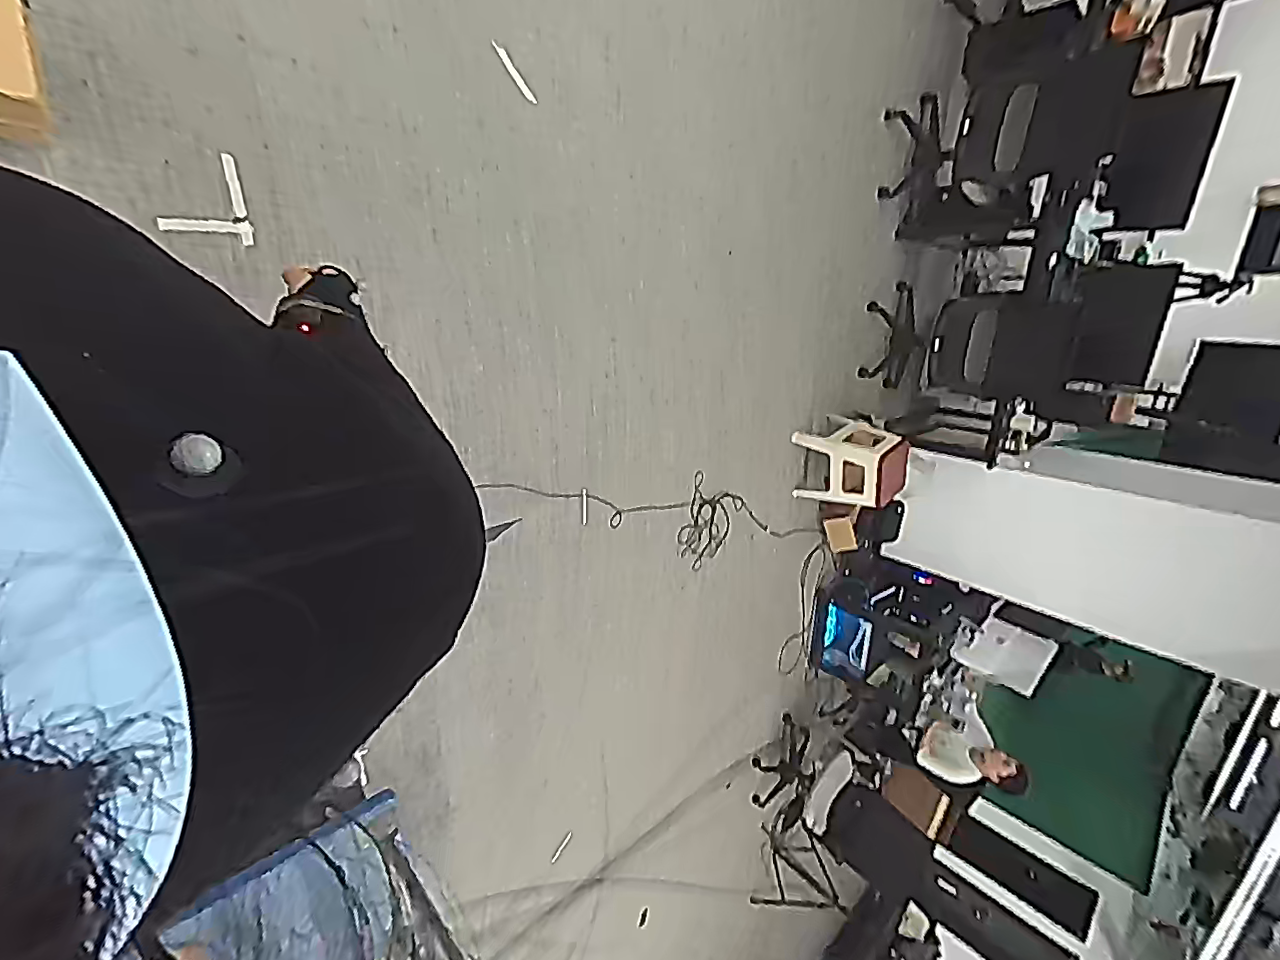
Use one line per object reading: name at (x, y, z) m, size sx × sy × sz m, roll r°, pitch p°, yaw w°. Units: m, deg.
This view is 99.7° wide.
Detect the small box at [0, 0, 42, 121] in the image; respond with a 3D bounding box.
small box at (-0.928, -0.609, 0.710) m, size 0.168 × 0.176 × 0.179 m, roll -9°, pitch 111°, yaw -41°

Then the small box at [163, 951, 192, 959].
small box at (-1.069, 1.208, 1.187) m, size 0.168 × 0.176 × 0.179 m, roll -18°, pitch 116°, yaw -40°
